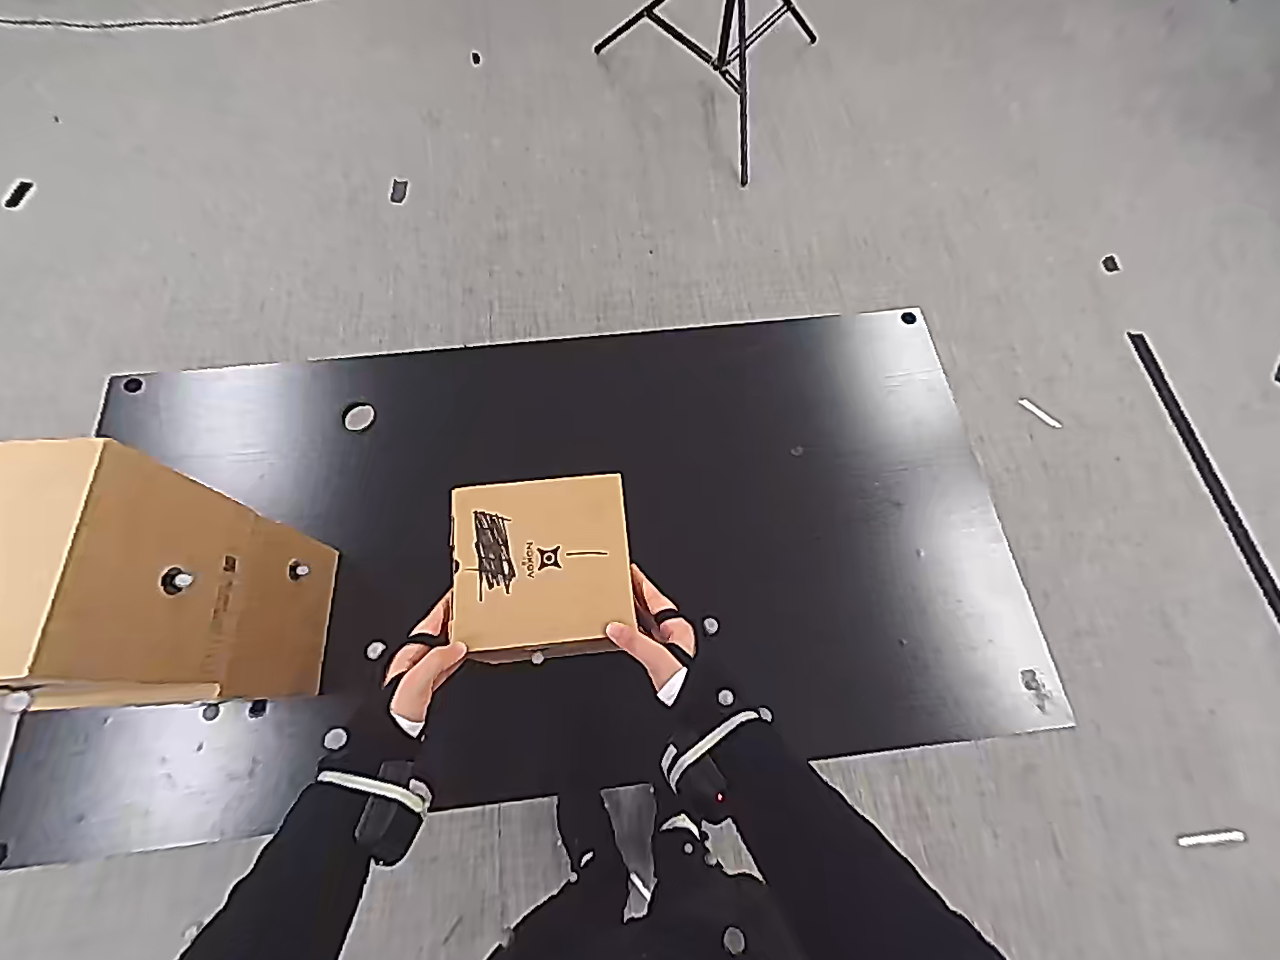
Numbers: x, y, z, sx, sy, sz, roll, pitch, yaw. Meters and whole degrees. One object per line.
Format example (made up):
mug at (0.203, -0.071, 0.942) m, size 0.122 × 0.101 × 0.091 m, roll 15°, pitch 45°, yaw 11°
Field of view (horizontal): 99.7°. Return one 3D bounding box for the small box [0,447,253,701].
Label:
small box at (-0.458, 0.085, 0.432) m, size 0.179 × 0.176 × 0.168 m, roll -4°, pitch 68°, yaw -1°

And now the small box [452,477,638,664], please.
small box at (-0.095, 0.109, 0.604) m, size 0.179 × 0.176 × 0.168 m, roll -5°, pitch 69°, yaw -4°

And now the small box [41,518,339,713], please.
small box at (-0.454, 0.151, 0.584) m, size 0.168 × 0.176 × 0.179 m, roll -4°, pitch 70°, yaw -1°
